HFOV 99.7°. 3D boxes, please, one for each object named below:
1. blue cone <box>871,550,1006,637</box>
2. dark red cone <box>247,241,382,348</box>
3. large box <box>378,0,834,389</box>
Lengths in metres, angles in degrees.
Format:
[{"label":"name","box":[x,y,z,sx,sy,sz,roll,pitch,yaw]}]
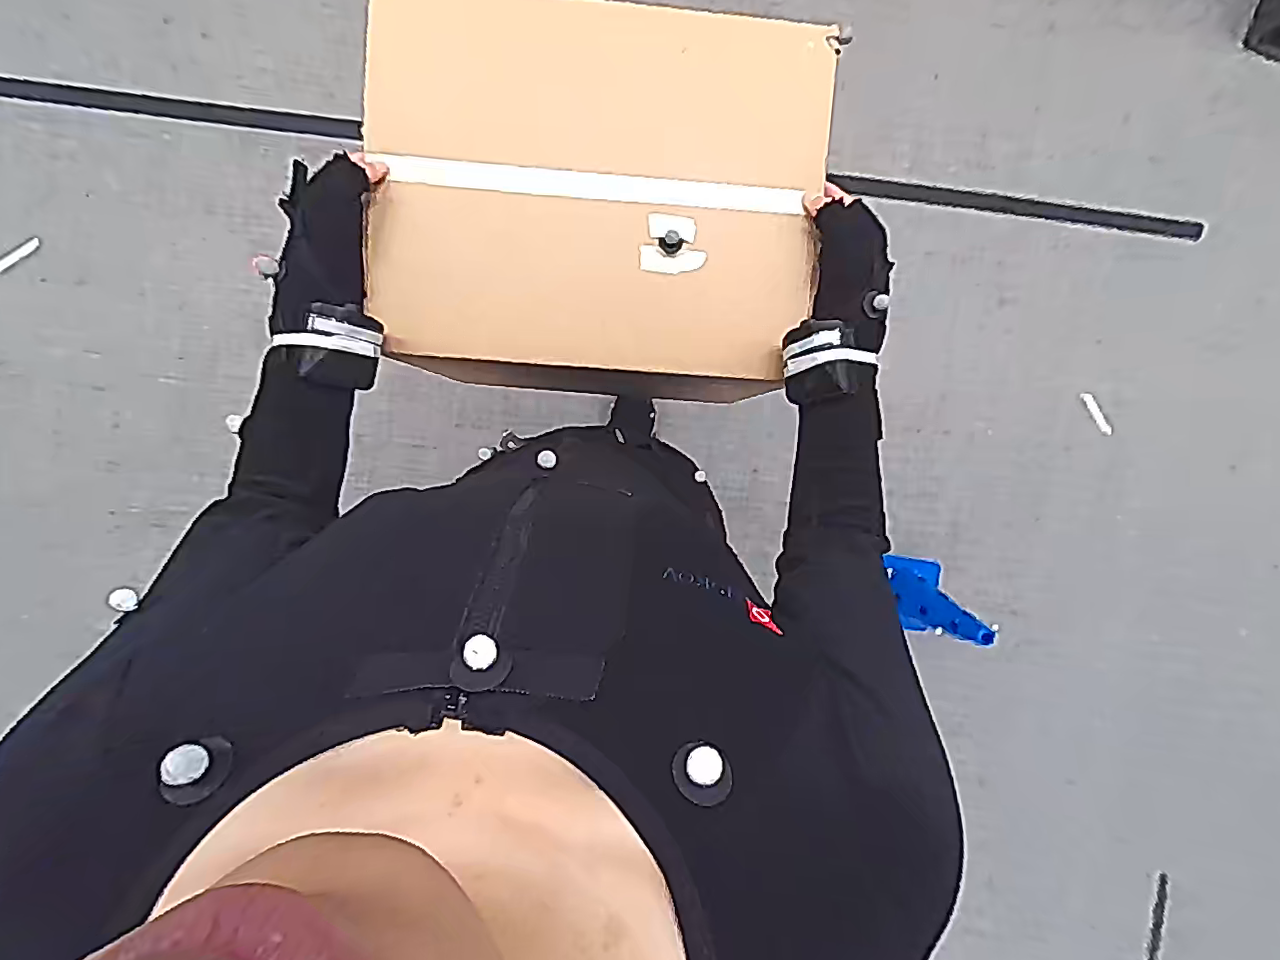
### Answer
[{"label":"blue cone","box":[0.749,0.306,1.341,0.192,0.380,0.193,10,94,-3]},{"label":"dark red cone","box":[-0.740,-0.442,1.219,0.201,0.394,0.202,12,93,-3]},{"label":"large box","box":[-0.040,-0.282,0.630,0.408,0.320,0.320,3,95,-4]}]
